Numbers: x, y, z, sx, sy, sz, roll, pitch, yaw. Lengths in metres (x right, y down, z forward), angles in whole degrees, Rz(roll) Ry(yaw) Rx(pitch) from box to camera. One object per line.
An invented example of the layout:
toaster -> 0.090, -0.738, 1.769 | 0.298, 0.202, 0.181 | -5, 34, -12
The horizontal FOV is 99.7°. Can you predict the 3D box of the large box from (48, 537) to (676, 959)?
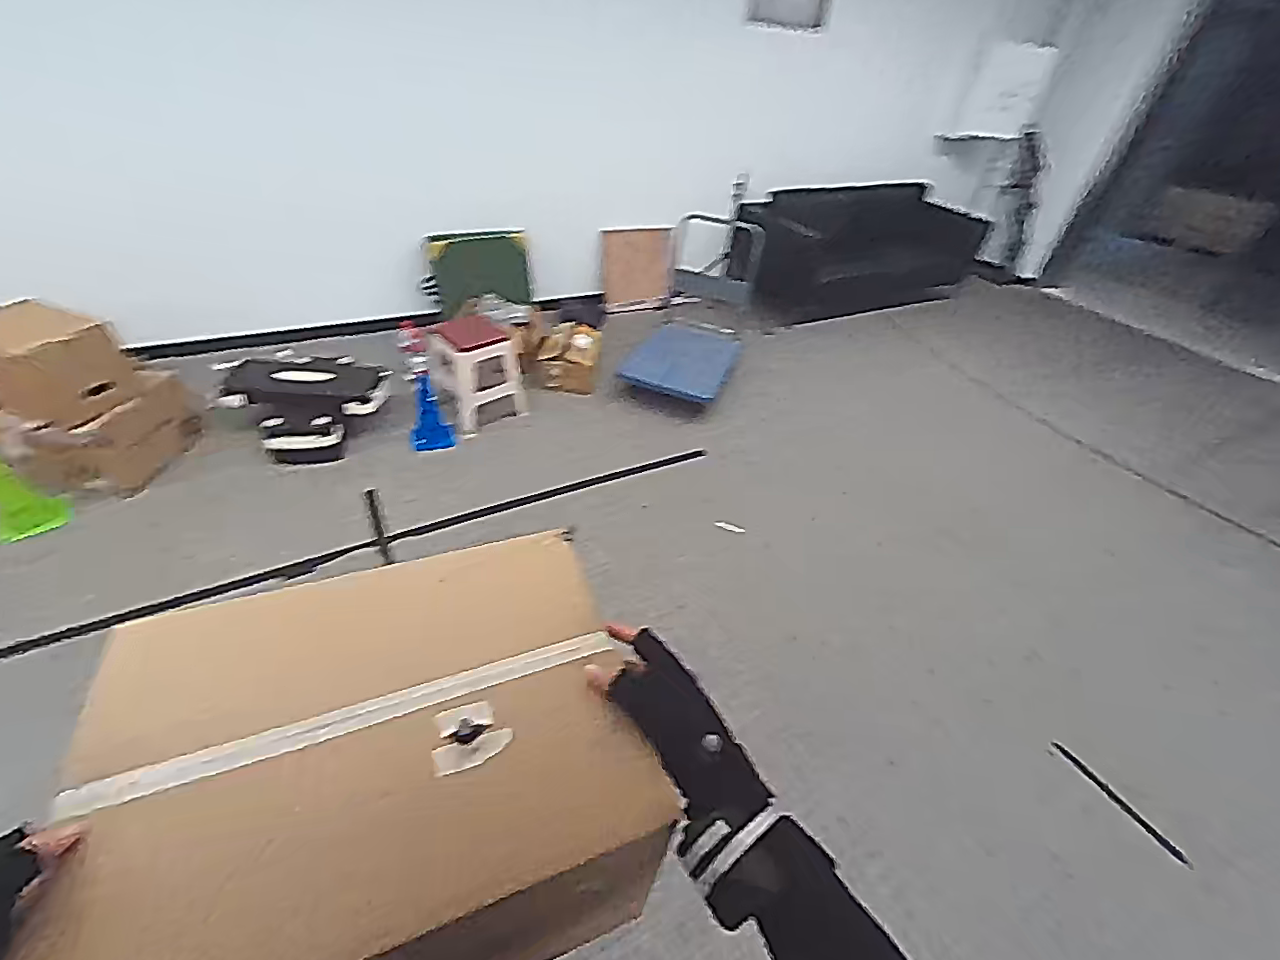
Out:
large box -> -0.223, 0.309, 0.550 | 0.408, 0.320, 0.320 | -11, 44, -20
